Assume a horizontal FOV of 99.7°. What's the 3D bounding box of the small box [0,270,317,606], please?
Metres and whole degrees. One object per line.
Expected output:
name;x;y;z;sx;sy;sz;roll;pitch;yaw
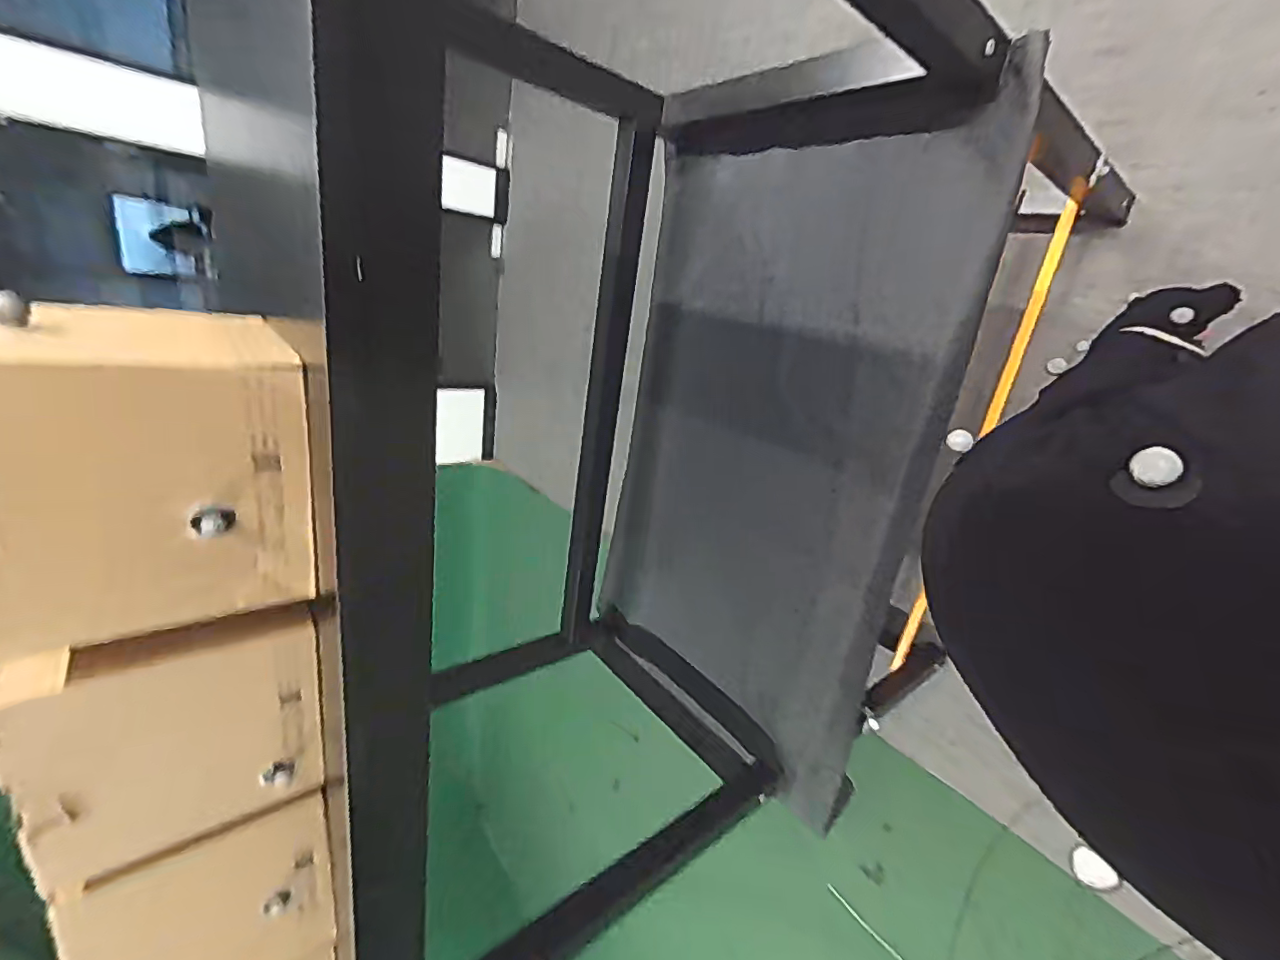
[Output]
small box;-0.333;-0.039;0.368;0.179;0.176;0.168;29;118;44

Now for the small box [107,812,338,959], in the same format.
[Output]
small box;-0.422;0.495;0.561;0.179;0.176;0.168;20;109;47
